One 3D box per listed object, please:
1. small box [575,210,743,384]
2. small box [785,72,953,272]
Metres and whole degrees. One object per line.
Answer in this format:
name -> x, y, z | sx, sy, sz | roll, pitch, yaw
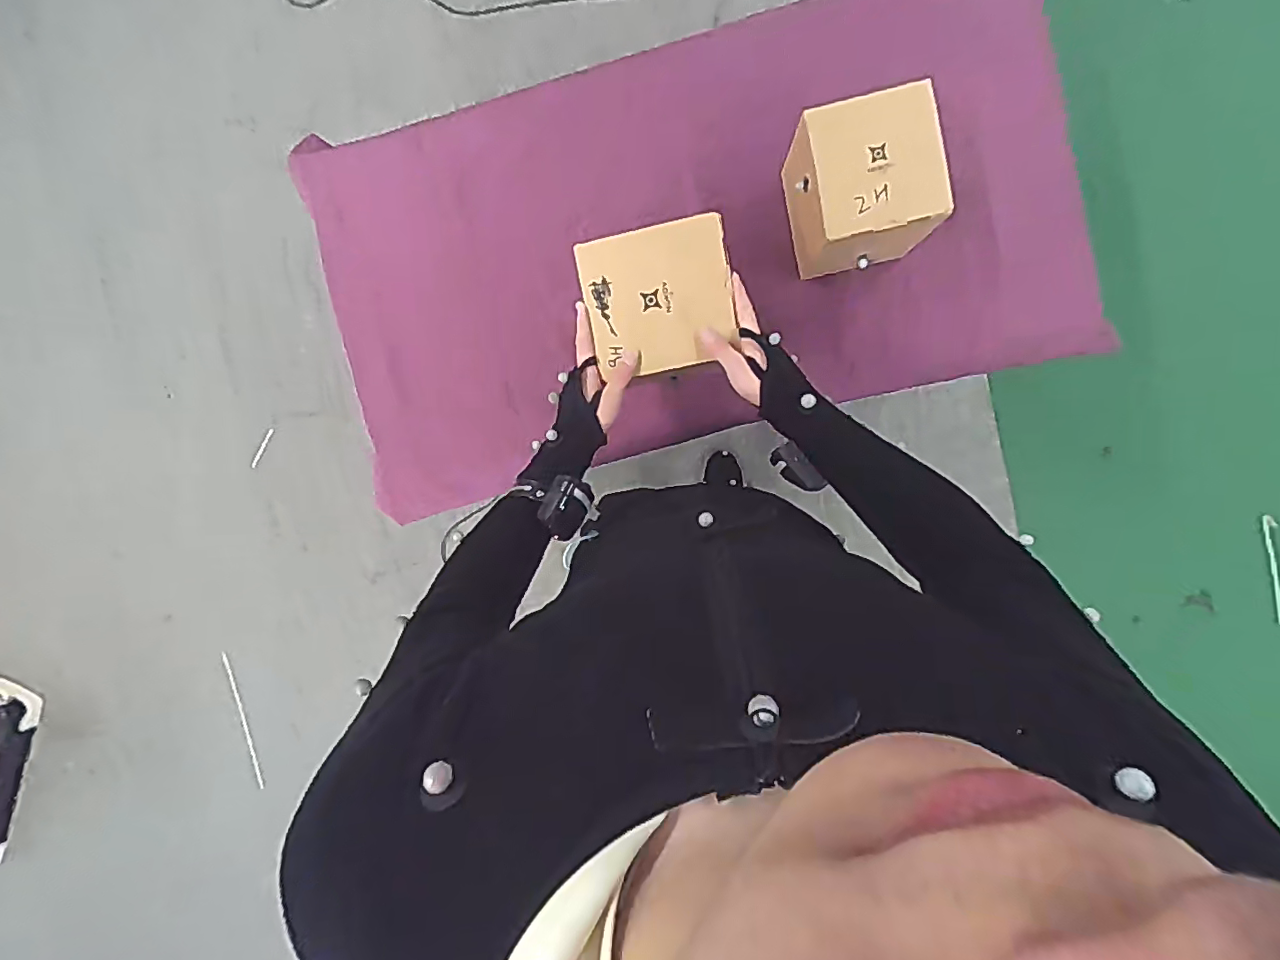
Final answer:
small box -> 0.027, -0.223, 0.705 | 0.179, 0.176, 0.168 | -9, 96, 6
small box -> 0.316, -0.428, 0.781 | 0.168, 0.176, 0.179 | -11, 92, 6
